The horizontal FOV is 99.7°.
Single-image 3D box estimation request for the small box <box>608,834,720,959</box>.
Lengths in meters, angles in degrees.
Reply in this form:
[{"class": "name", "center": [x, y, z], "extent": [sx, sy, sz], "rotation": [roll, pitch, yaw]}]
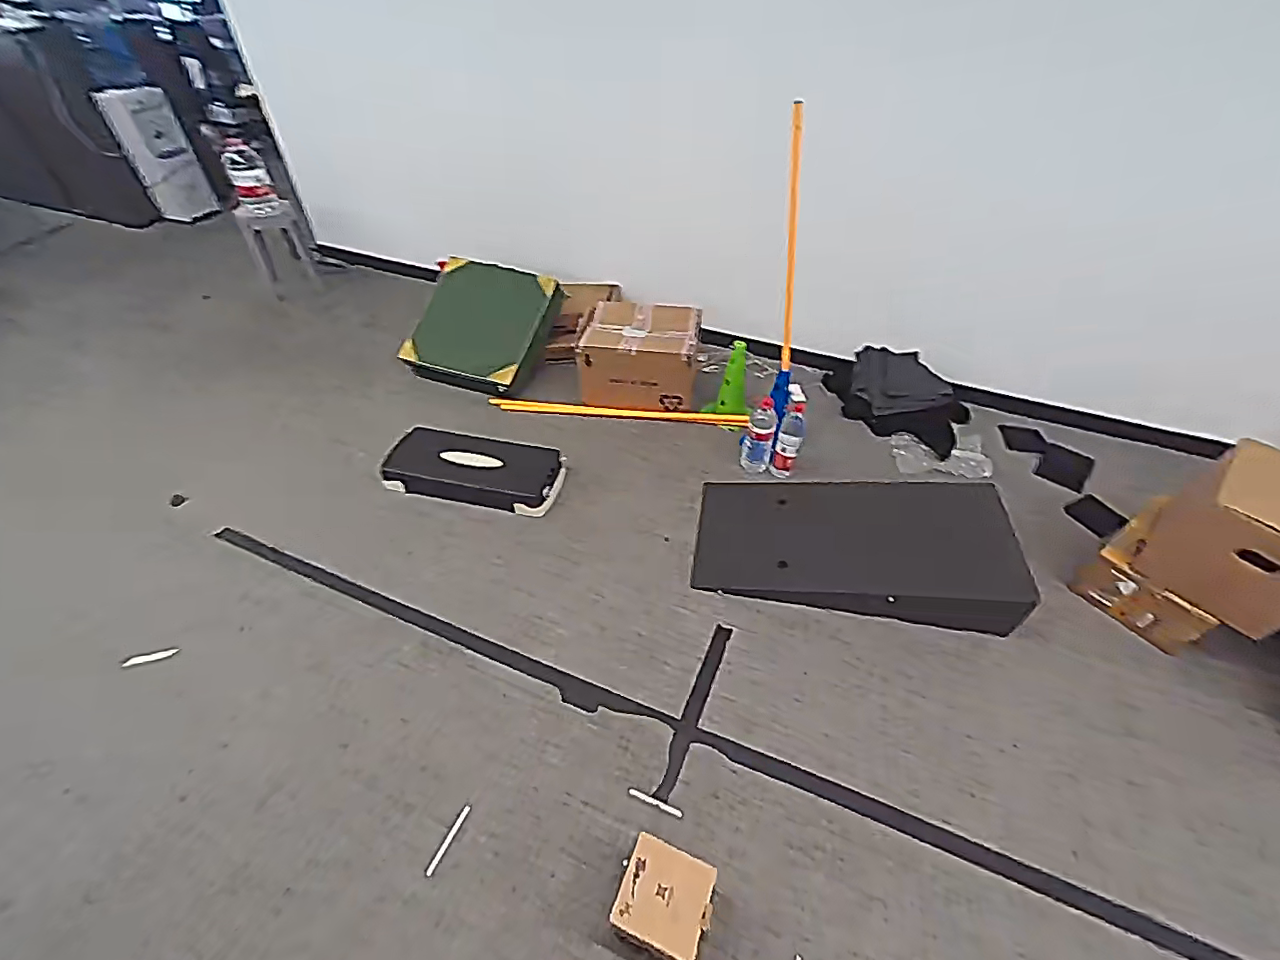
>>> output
[{"class": "small box", "center": [0.048, 0.873, 1.115], "extent": [0.179, 0.176, 0.168], "rotation": [19, 48, 16]}]
